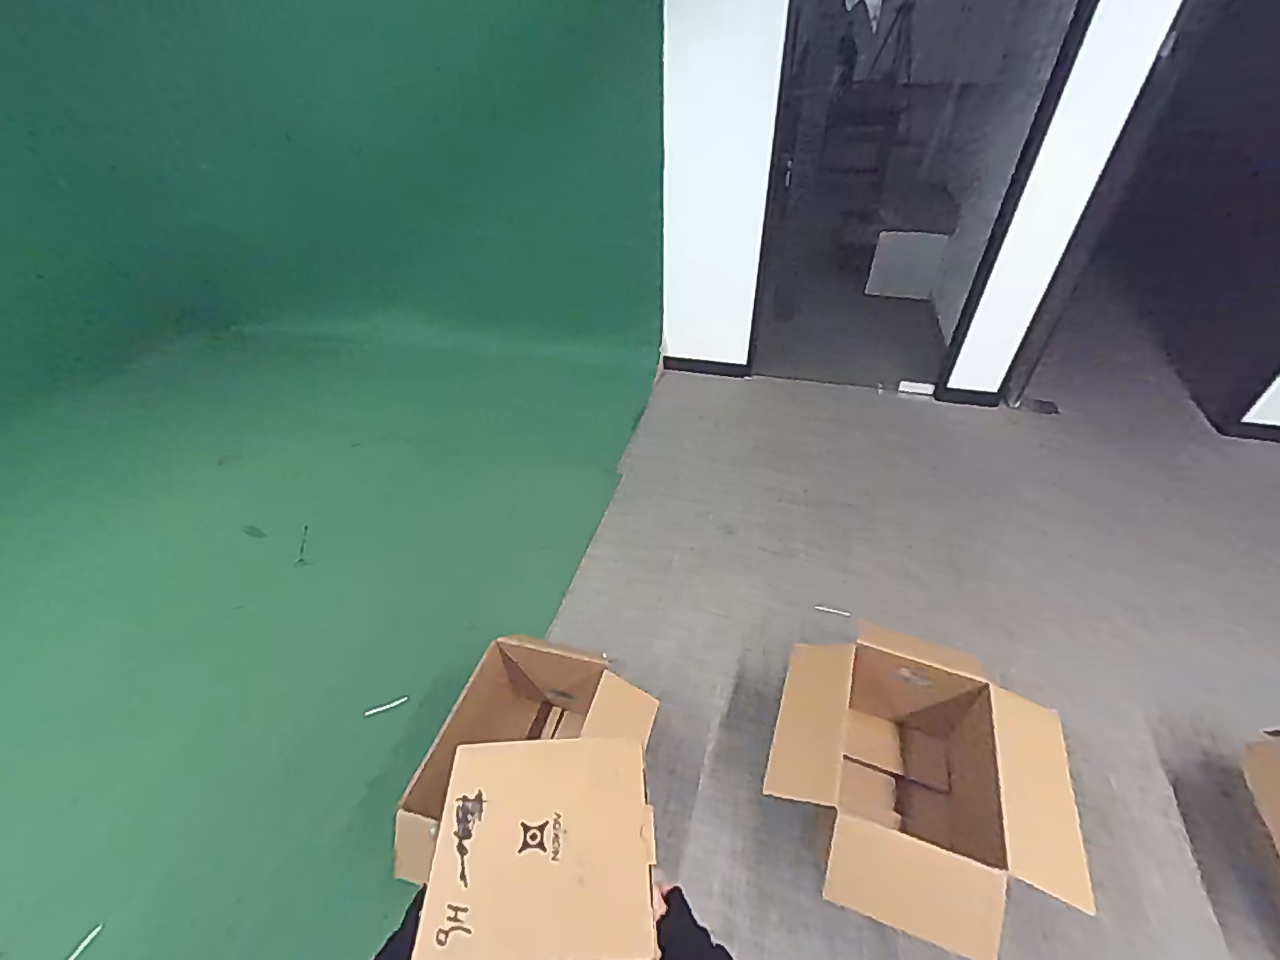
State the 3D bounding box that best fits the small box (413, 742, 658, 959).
[{"bbox_3d":[-0.081,0.363,0.494,0.179,0.176,0.168,1,35,-3],"label":"small box"}]
